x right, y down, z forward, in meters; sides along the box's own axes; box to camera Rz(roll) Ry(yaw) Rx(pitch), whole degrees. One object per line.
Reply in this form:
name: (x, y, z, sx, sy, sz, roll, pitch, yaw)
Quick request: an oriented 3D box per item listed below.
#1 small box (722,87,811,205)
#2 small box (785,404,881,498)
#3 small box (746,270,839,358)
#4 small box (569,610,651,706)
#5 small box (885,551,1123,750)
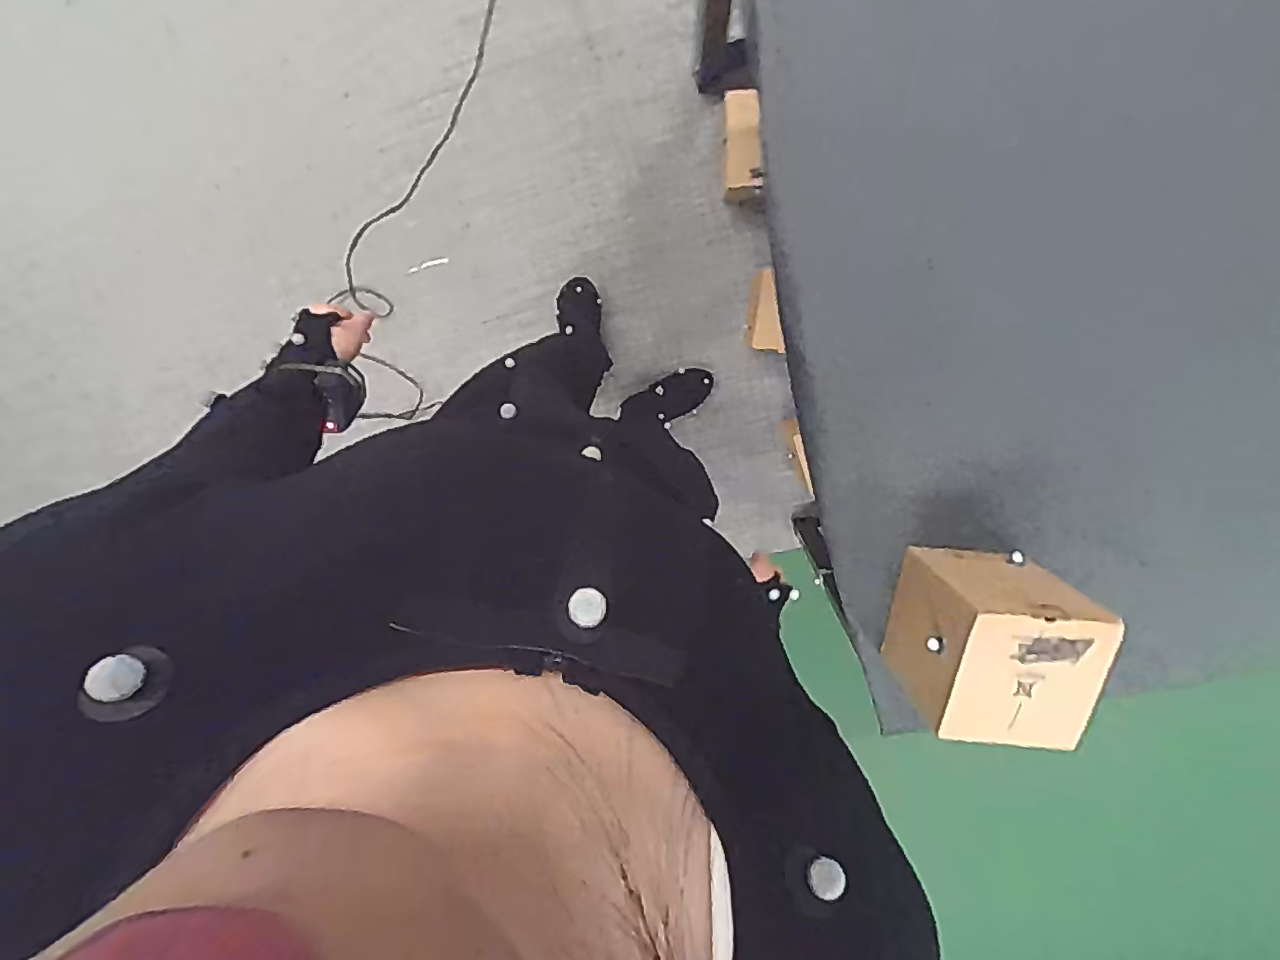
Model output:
small box: (0.266, -0.712, 1.170, 0.168, 0.176, 0.179, -2, 107, 5)
small box: (0.476, -0.077, 1.360, 0.179, 0.176, 0.168, -19, 106, 10)
small box: (0.347, -0.389, 1.270, 0.168, 0.176, 0.179, 5, 107, 2)
small box: (-0.080, 0.520, 1.599, 0.179, 0.176, 0.168, 38, 107, -8)
small box: (0.436, 0.204, 0.683, 0.168, 0.176, 0.179, 5, 107, 0)
